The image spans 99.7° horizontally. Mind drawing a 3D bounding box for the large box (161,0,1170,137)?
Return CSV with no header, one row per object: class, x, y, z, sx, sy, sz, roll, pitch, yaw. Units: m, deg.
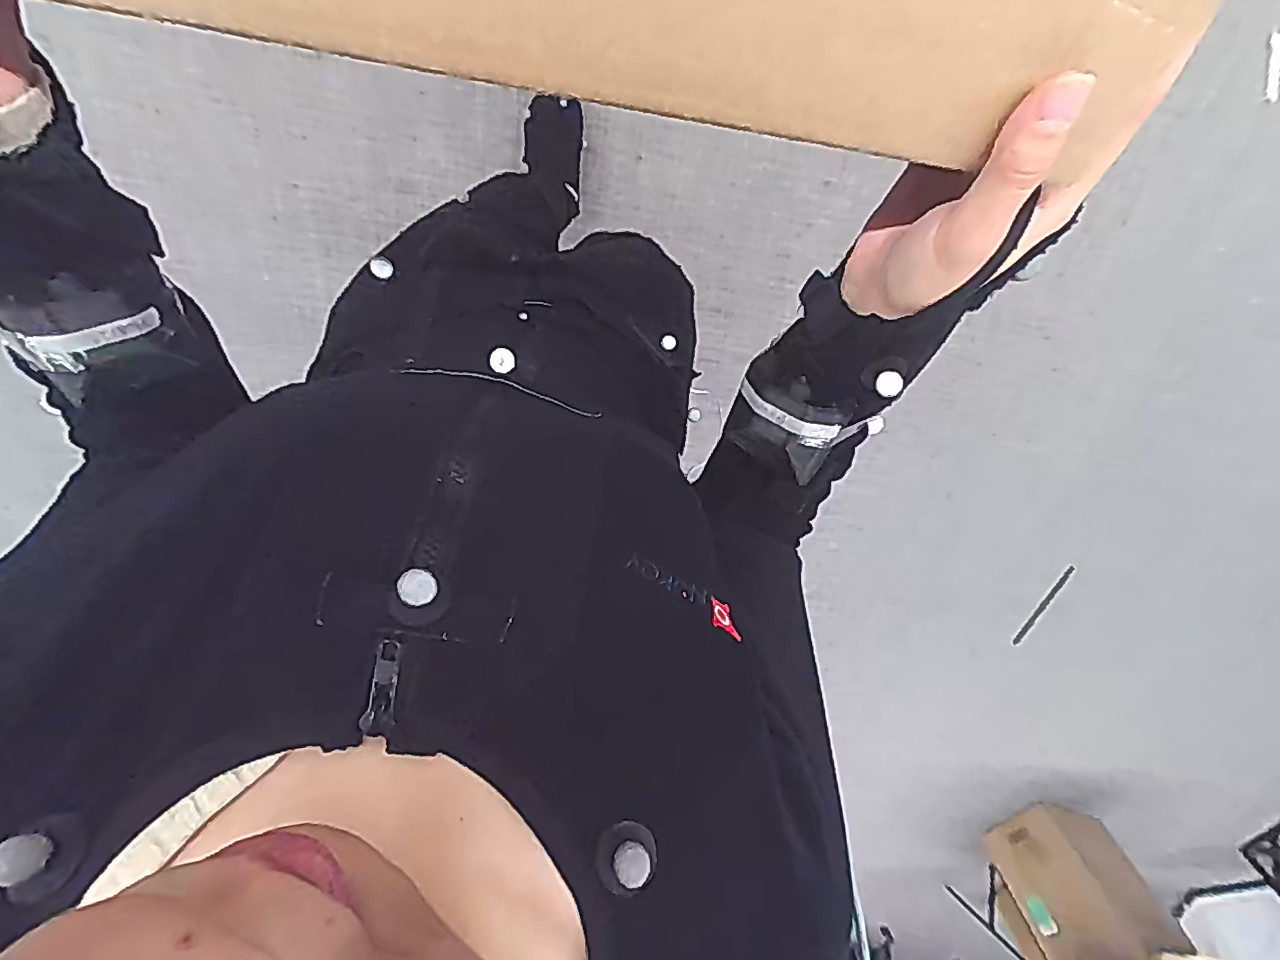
large box,-0.019,-0.349,0.146,0.408,0.320,0.320,5,144,-7
